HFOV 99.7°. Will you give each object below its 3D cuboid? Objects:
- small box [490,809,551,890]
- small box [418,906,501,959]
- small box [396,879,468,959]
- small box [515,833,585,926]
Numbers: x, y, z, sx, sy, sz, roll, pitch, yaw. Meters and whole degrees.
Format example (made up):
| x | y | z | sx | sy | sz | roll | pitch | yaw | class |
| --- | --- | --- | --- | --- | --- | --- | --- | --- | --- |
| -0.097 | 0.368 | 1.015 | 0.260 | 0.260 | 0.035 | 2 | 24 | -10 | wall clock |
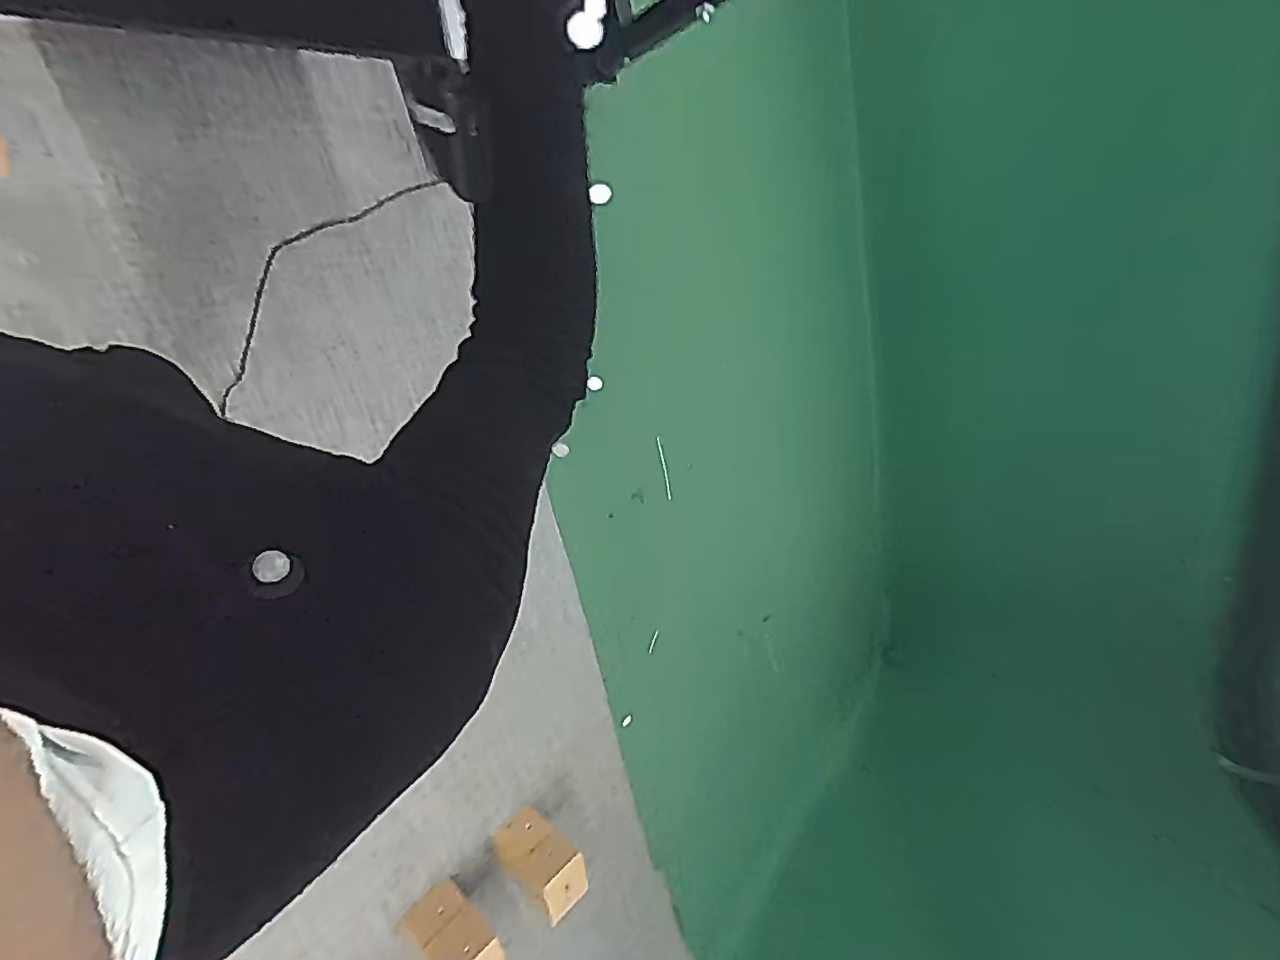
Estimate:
| x | y | z | sx | sy | sz | roll | pitch | yaw | class |
| --- | --- | --- | --- | --- | --- | --- | --- | --- | --- |
| -0.436 | 1.367 | 2.011 | 0.168 | 0.176 | 0.179 | -24 | 112 | -42 | small box |
| -0.551 | 1.481 | 1.664 | 0.179 | 0.176 | 0.168 | -24 | 111 | -42 | small box |
| -0.667 | 1.477 | 1.780 | 0.179 | 0.176 | 0.168 | -27 | 113 | -42 | small box |
| -0.319 | 1.383 | 1.894 | 0.168 | 0.176 | 0.179 | -21 | 110 | -42 | small box |
